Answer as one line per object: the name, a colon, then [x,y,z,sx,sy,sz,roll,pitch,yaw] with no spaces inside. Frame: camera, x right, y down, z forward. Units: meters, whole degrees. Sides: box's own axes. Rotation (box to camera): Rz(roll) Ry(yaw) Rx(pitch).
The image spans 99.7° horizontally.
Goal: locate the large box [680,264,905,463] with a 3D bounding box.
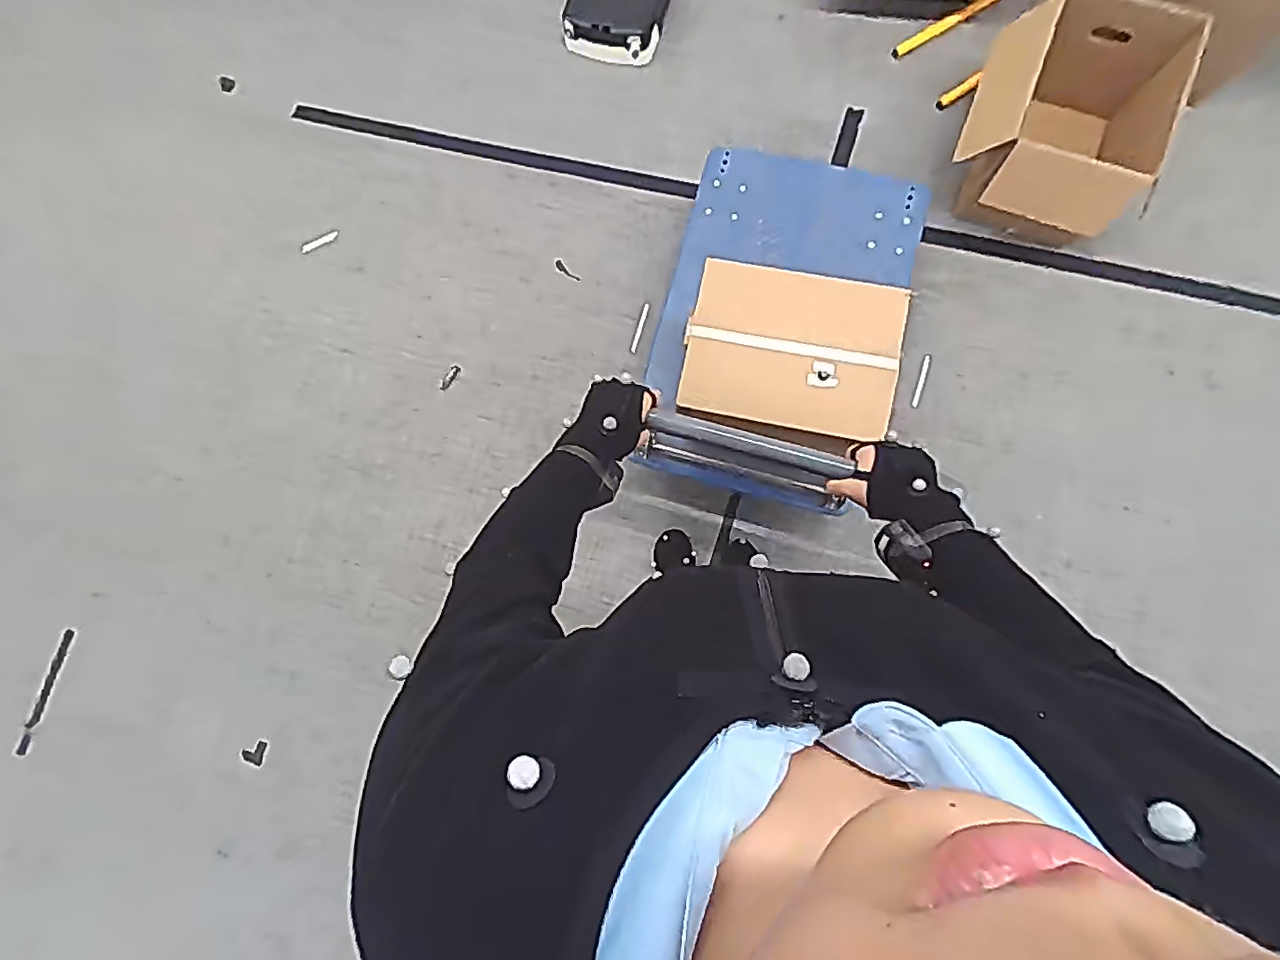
large box: [0.310,-0.241,1.216,0.408,0.320,0.320,12,86,6]
